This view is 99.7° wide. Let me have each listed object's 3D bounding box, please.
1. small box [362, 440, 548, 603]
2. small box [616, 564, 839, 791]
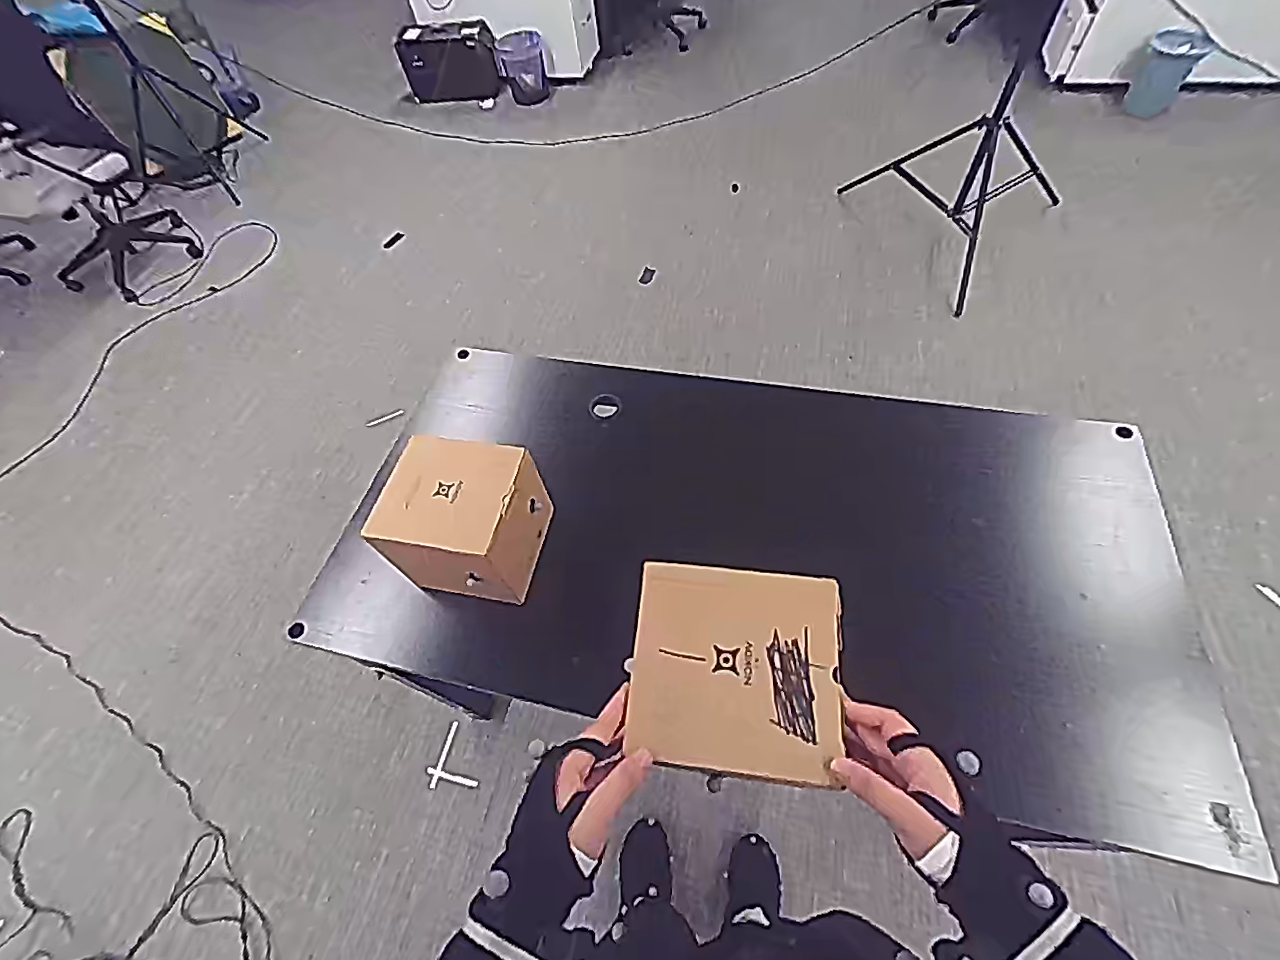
[{"bbox_3d":[-0.246,0.064,0.775,0.179,0.176,0.168,6,57,10],"label":"small box"},{"bbox_3d":[0.081,0.196,0.529,0.179,0.176,0.168,5,61,7],"label":"small box"}]
